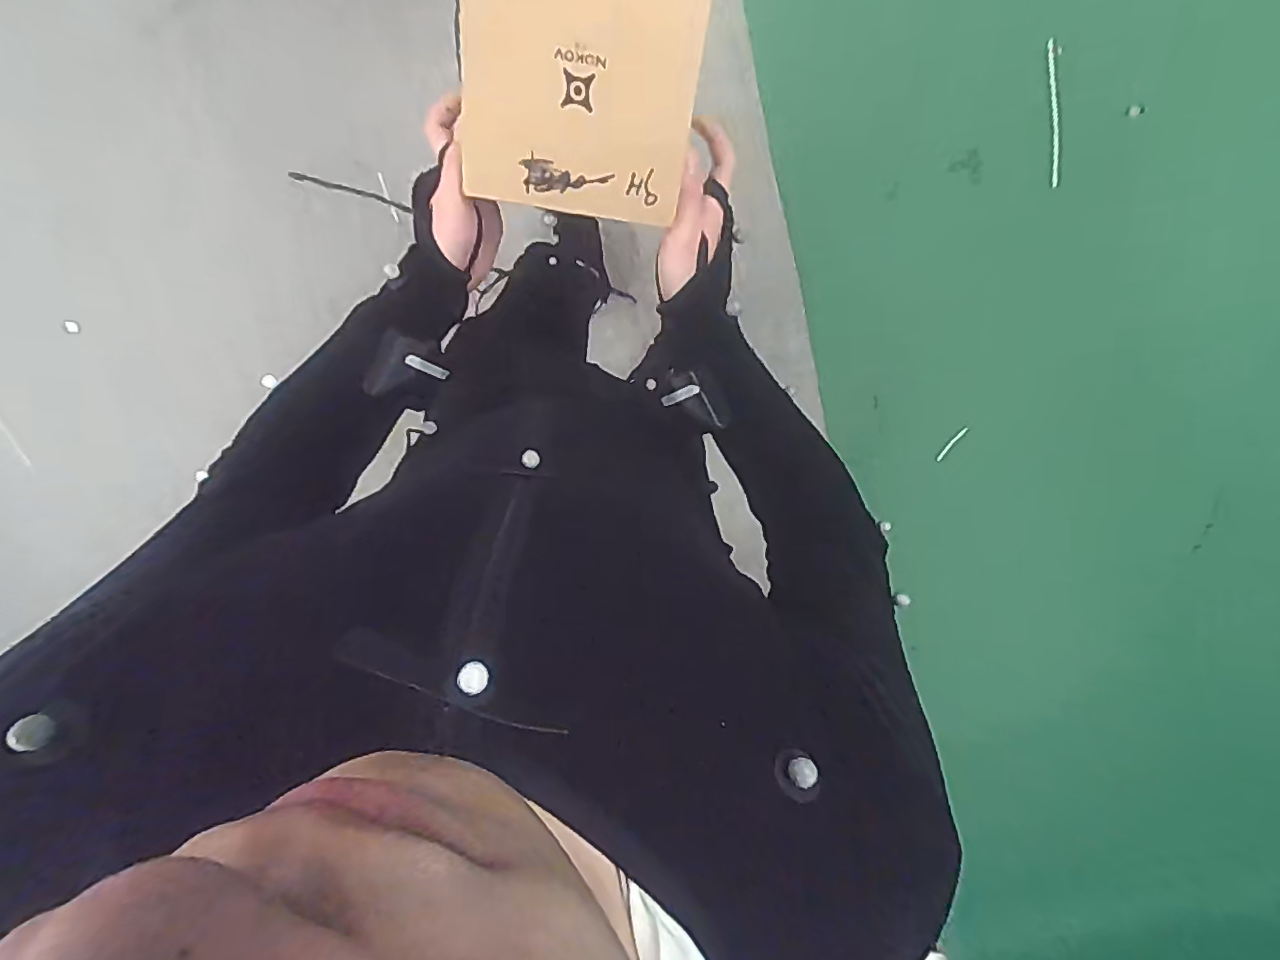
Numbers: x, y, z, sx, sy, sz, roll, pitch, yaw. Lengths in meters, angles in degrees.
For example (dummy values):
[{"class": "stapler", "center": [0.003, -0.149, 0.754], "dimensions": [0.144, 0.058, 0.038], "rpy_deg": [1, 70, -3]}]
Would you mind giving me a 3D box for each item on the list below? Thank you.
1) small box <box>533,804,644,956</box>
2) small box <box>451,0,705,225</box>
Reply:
[{"class": "small box", "center": [-0.089, 0.762, 1.040], "dimensions": [0.168, 0.176, 0.179], "rpy_deg": [-9, 108, 6]}, {"class": "small box", "center": [-0.047, -0.317, 0.439], "dimensions": [0.168, 0.176, 0.179], "rpy_deg": [7, 118, -4]}]
